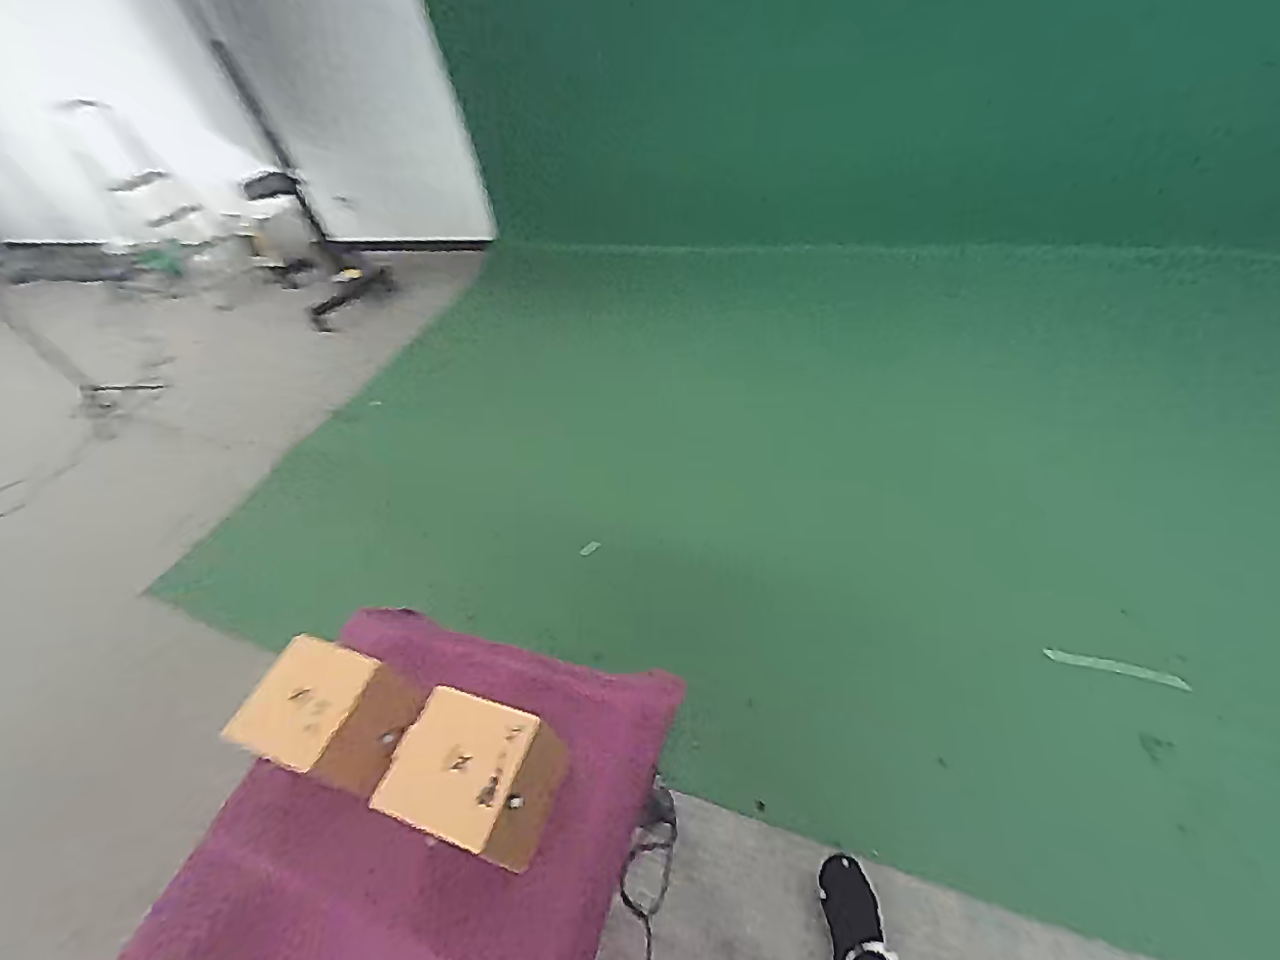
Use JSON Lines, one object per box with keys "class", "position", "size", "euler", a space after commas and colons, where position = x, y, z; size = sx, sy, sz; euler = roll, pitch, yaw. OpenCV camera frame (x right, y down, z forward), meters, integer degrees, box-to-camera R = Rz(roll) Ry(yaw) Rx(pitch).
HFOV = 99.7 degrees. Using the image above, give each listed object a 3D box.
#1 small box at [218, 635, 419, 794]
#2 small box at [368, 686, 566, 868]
{"class": "small box", "position": [-0.497, 0.376, 0.861], "size": [0.179, 0.176, 0.168], "euler": [10, 53, 18]}
{"class": "small box", "position": [-0.231, 0.422, 0.768], "size": [0.179, 0.176, 0.168], "euler": [8, 51, 20]}
